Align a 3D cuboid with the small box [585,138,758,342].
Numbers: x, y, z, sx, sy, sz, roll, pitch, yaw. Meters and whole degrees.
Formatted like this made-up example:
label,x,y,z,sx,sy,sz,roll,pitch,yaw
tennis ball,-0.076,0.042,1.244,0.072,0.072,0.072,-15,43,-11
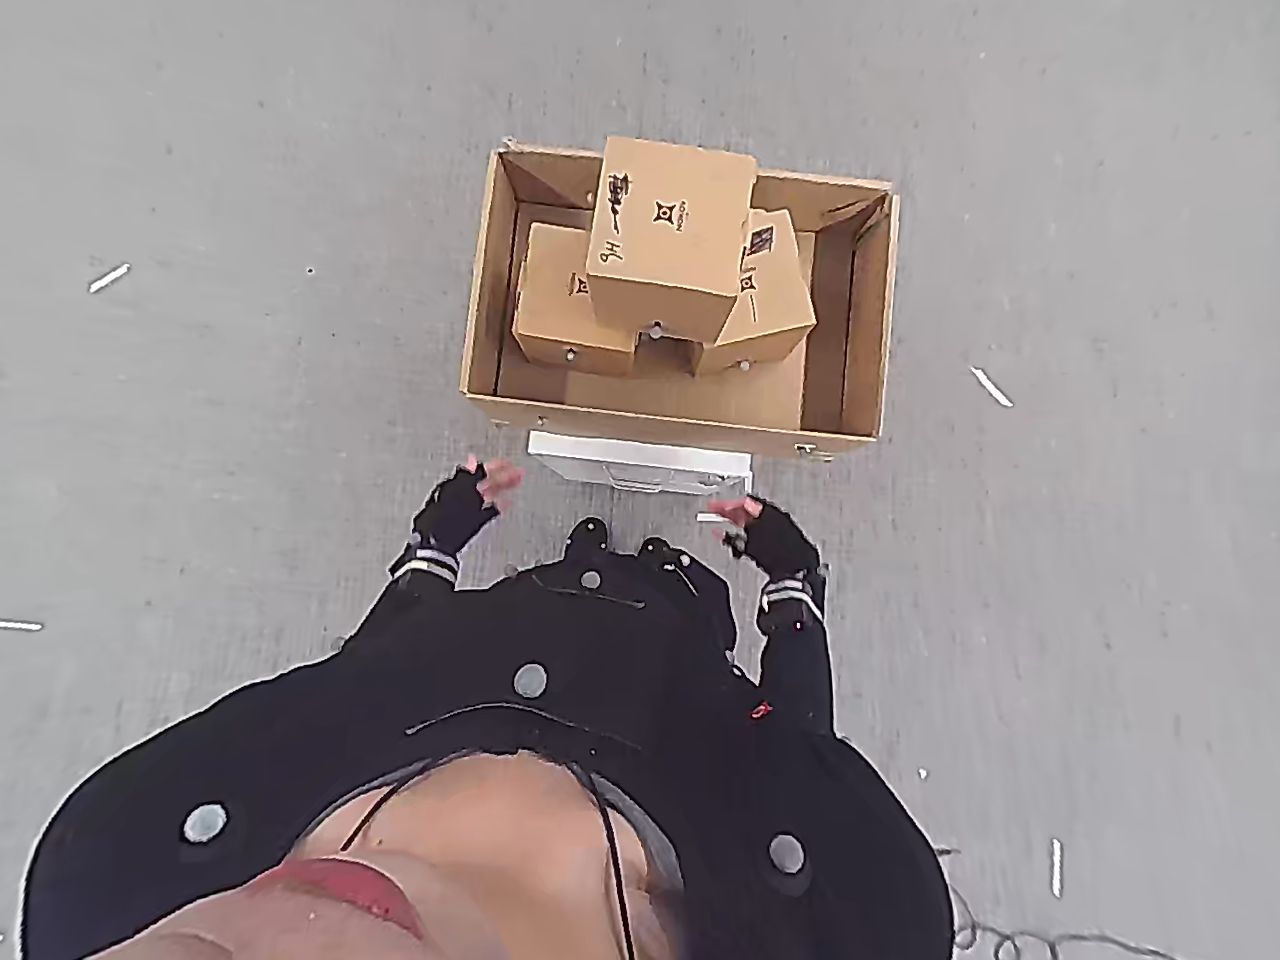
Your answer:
label,x,y,z,sx,sy,sz,roll,pitch,yaw
small box,0.034,-0.287,0.687,0.179,0.176,0.168,9,85,-1
